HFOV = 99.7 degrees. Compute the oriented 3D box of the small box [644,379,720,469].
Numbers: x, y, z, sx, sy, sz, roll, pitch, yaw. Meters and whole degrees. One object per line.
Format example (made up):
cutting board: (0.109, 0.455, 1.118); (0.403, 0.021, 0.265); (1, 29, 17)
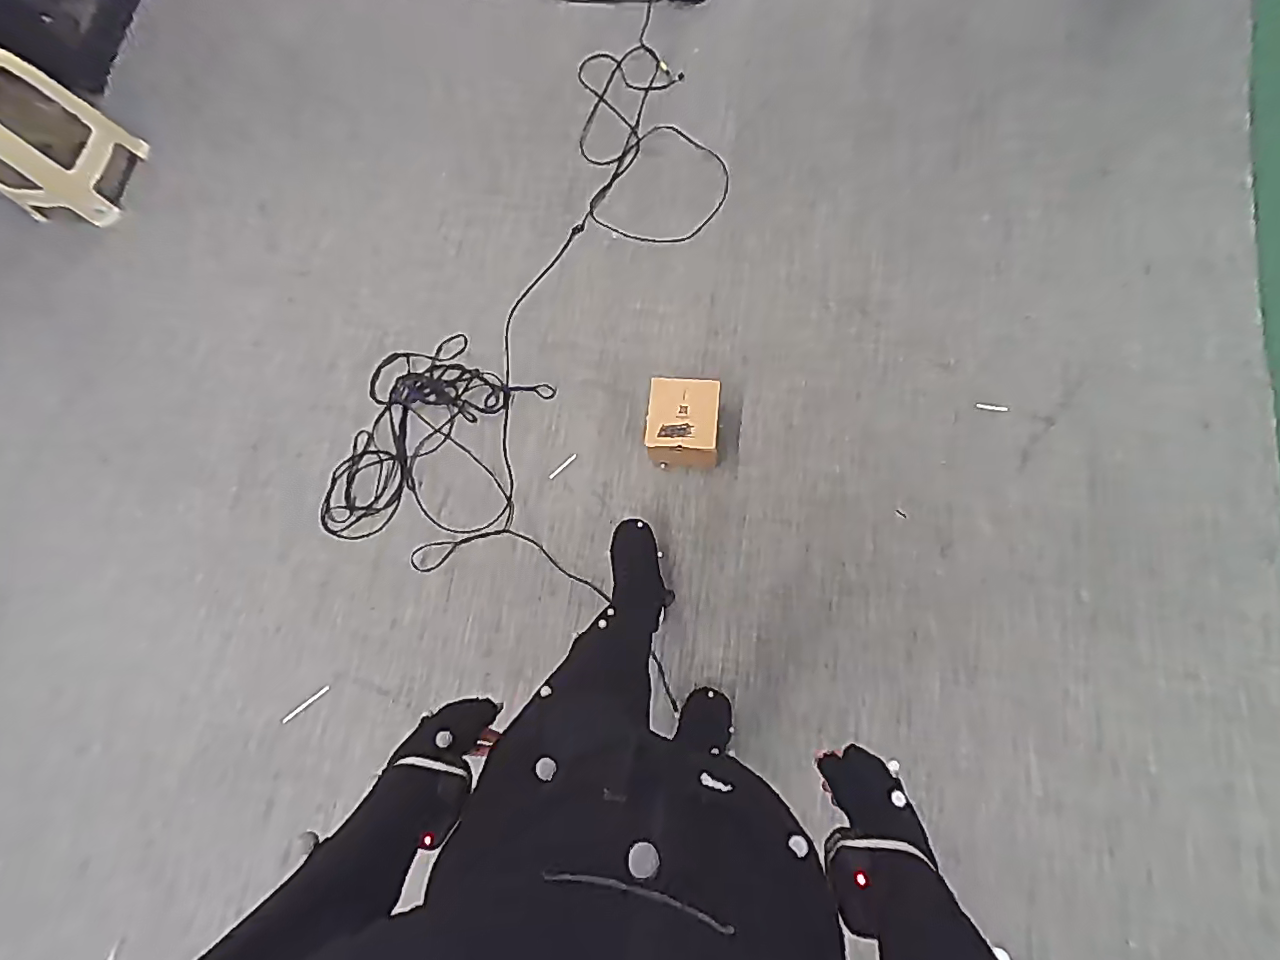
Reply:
small box: (0.109, -0.132, 1.339); (0.168, 0.176, 0.179); (5, 76, 8)
